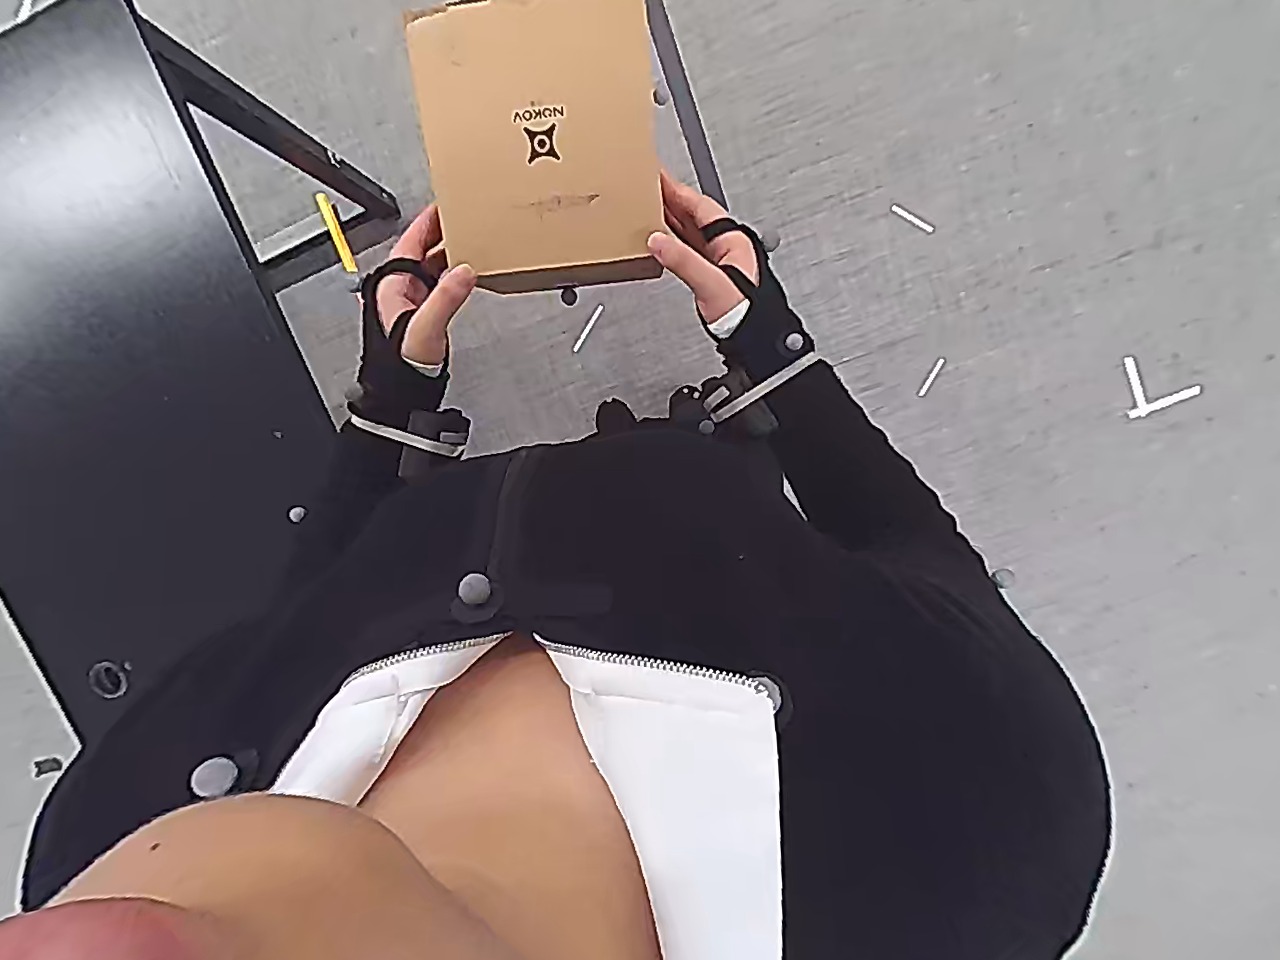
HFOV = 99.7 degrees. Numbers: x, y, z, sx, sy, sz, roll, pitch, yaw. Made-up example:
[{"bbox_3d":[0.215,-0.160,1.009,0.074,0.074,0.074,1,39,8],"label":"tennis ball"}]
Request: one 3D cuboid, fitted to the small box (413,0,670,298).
[{"bbox_3d":[-0.065,-0.259,0.459,0.168,0.176,0.179,-5,105,3],"label":"small box"}]
